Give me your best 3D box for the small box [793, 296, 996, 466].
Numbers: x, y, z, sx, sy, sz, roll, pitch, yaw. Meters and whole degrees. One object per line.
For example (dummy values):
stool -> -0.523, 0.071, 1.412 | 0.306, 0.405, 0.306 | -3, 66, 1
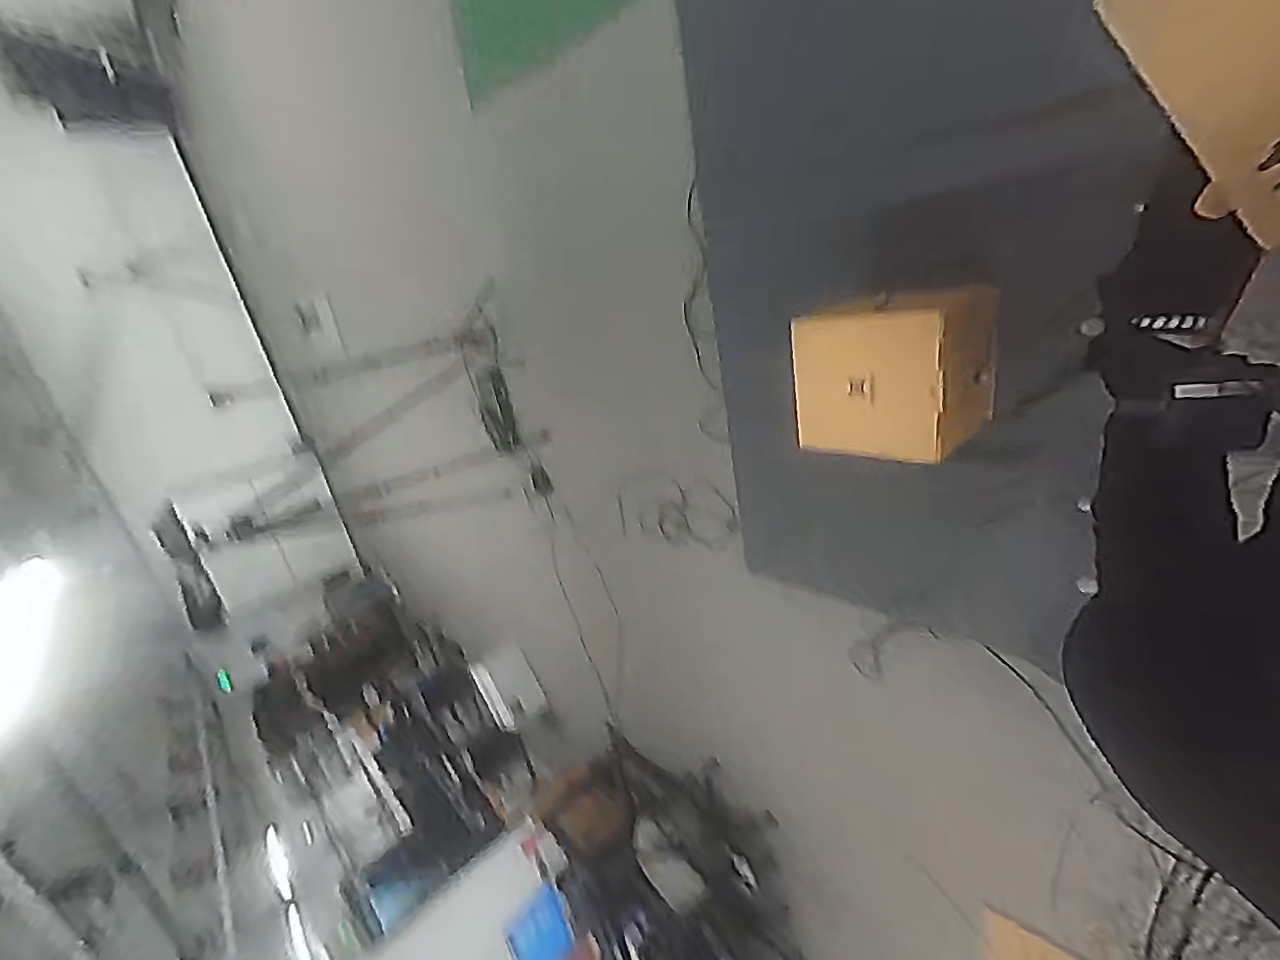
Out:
small box -> 0.318, -0.130, 0.681 | 0.179, 0.176, 0.168 | 12, 119, 47
